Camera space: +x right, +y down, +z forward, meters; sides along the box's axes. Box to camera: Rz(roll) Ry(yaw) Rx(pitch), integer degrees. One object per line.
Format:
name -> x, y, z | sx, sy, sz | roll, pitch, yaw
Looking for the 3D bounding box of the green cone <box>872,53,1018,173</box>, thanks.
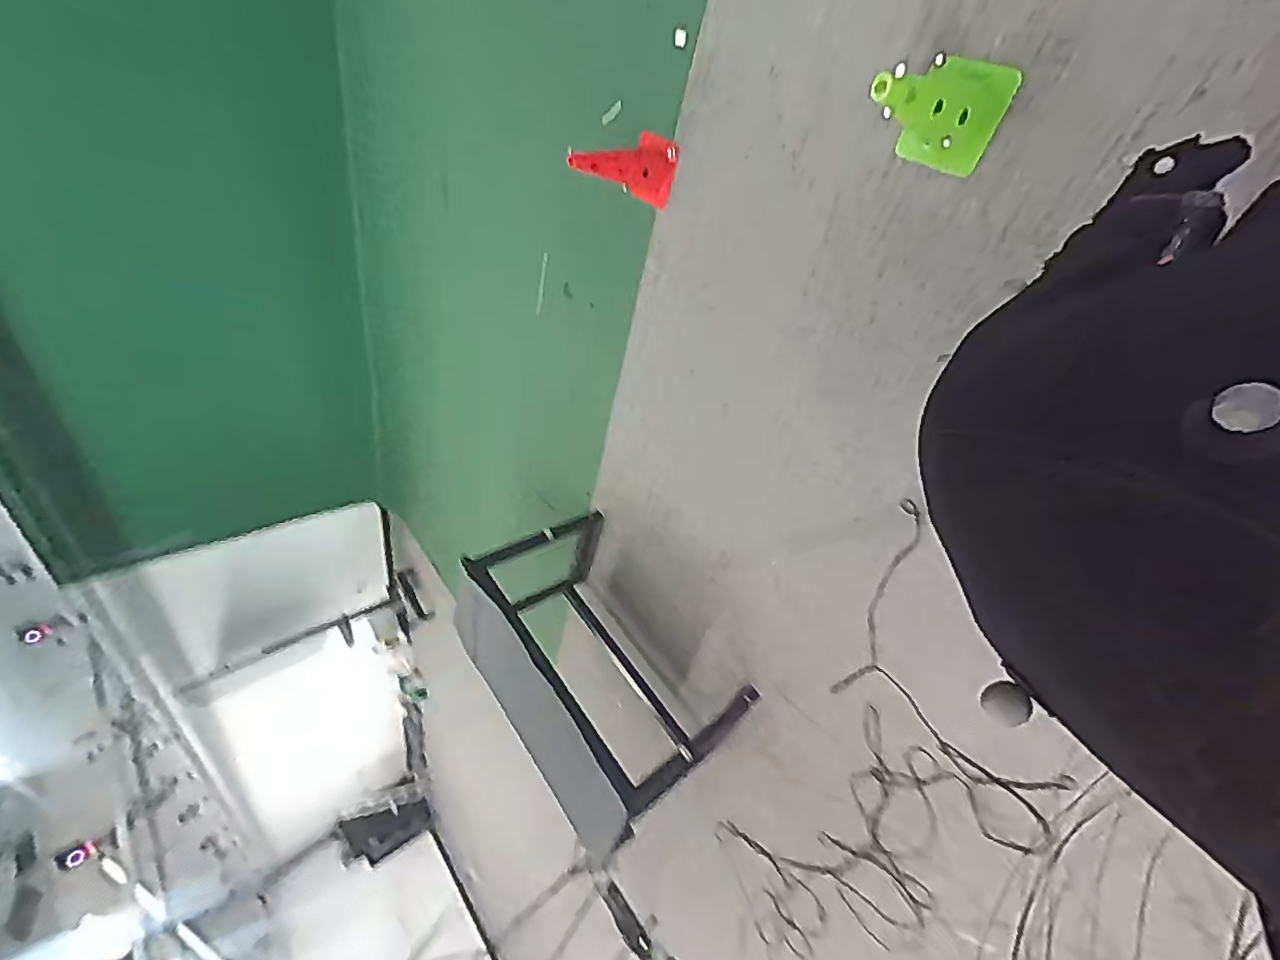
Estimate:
green cone -> 0.570, -0.771, 1.103 | 0.202, 0.368, 0.200 | 42, 134, 31
